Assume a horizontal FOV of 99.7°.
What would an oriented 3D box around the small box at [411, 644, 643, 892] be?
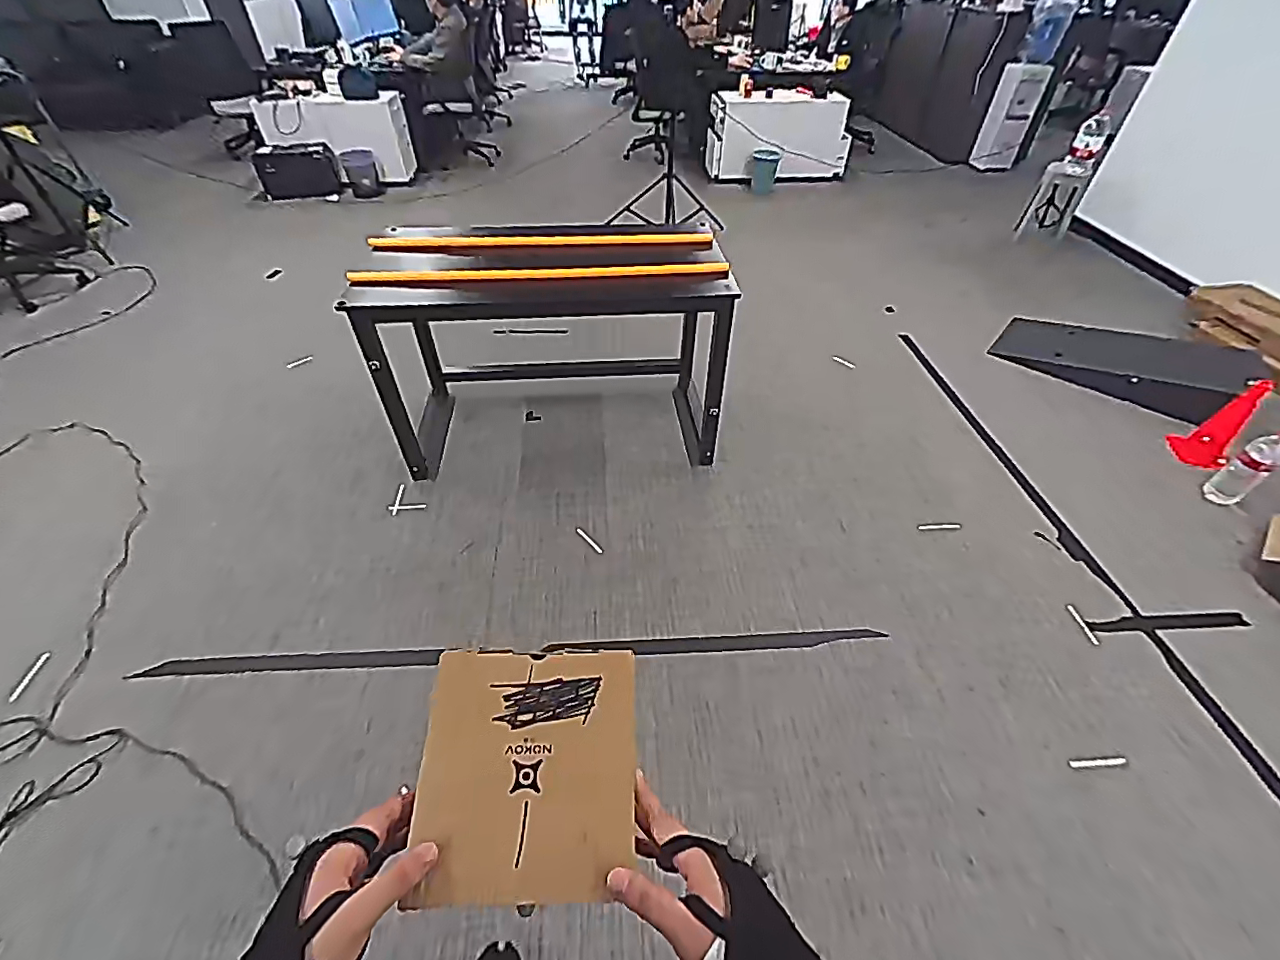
[{"bbox_3d":[-0.086,0.262,0.494,0.168,0.176,0.179,1,57,-3],"label":"small box"}]
